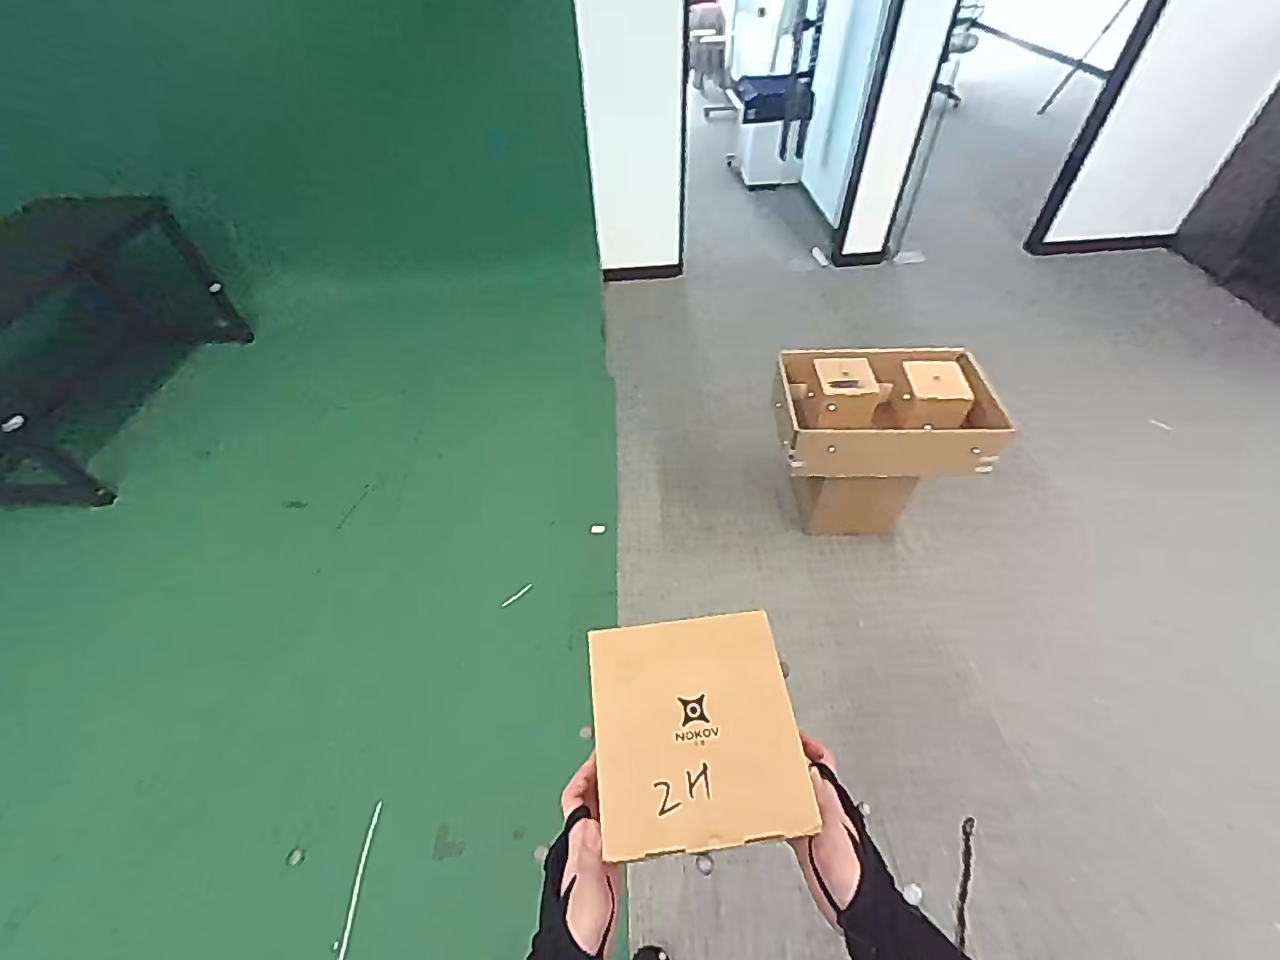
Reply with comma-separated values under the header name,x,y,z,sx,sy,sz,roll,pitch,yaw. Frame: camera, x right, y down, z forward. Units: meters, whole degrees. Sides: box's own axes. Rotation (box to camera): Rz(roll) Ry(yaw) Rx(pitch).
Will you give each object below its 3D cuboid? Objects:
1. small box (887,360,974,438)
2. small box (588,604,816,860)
name,x,y,z,sx,sy,sz,roll,pitch,yaw
small box,0.886,-0.251,1.672,0.168,0.176,0.179,1,49,4
small box,0.041,0.236,0.500,0.168,0.176,0.179,-5,54,-2
